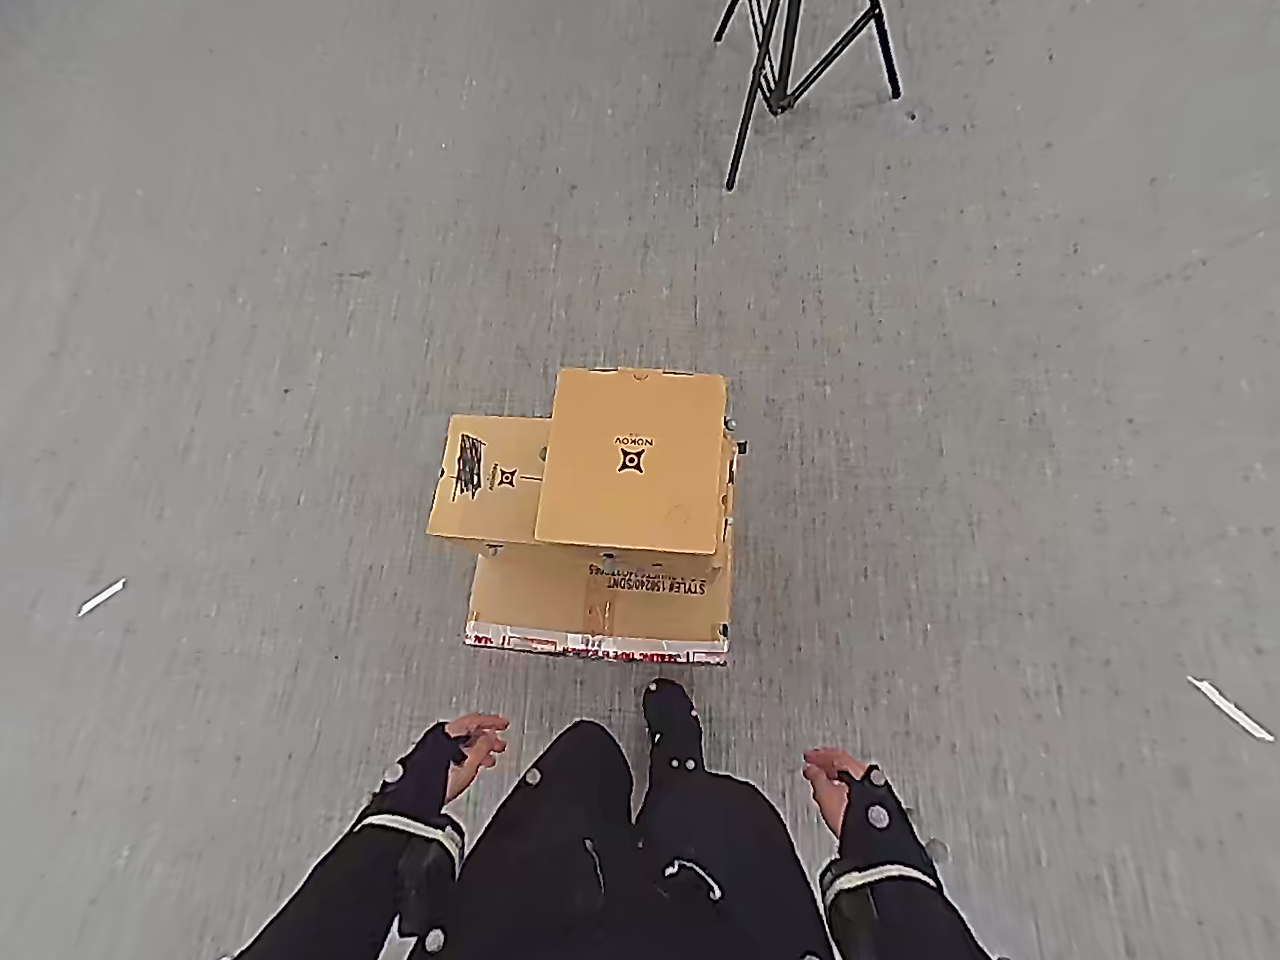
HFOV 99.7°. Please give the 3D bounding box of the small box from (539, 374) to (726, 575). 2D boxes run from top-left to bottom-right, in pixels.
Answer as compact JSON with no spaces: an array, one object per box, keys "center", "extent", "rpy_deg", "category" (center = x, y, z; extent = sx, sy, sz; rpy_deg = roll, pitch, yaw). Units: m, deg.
[{"center":[0.003,0.004,0.579],"extent":[0.168,0.176,0.179],"rpy_deg":[3,74,6],"category":"small box"}]
